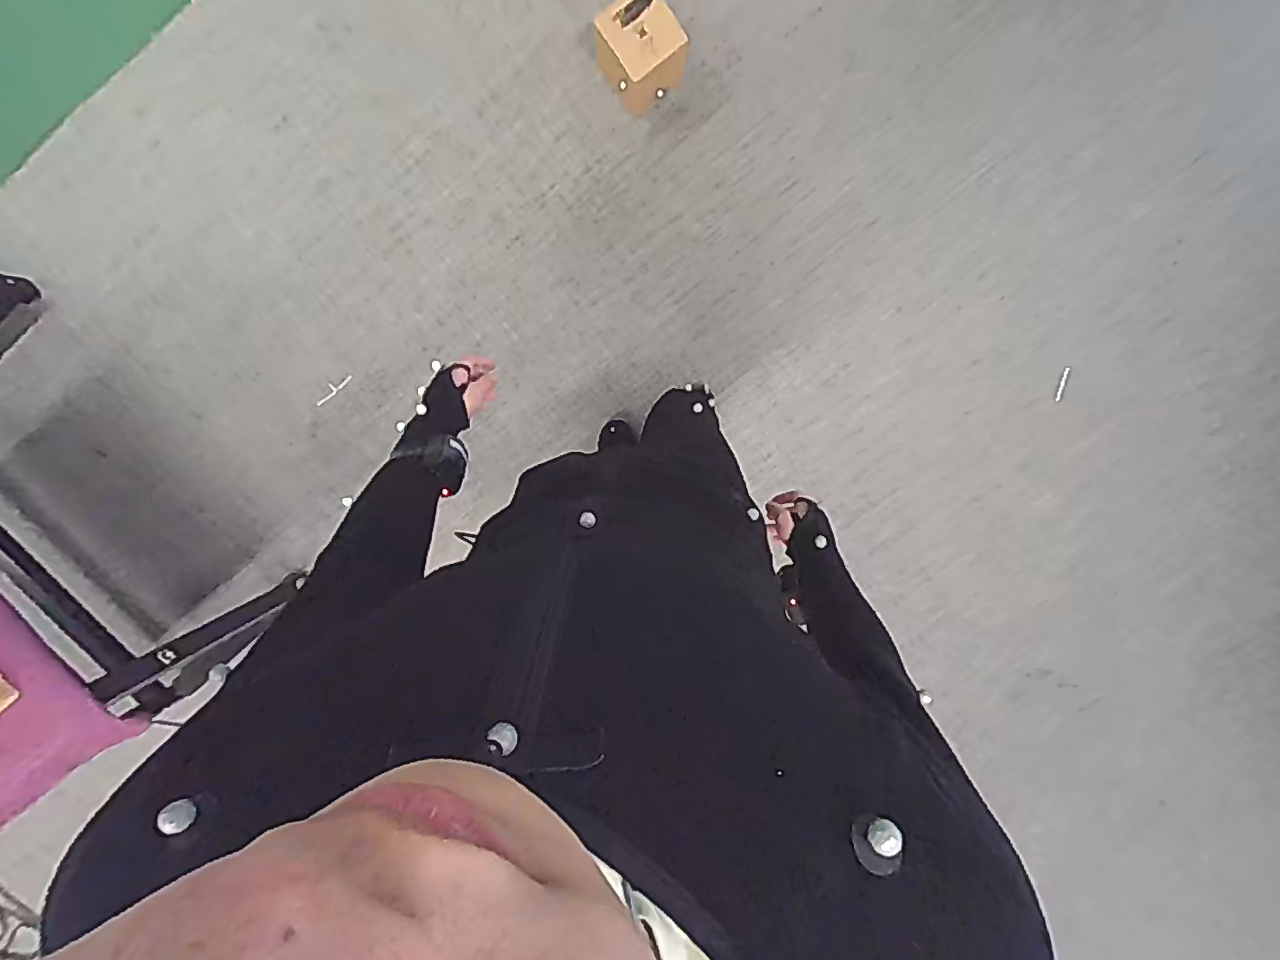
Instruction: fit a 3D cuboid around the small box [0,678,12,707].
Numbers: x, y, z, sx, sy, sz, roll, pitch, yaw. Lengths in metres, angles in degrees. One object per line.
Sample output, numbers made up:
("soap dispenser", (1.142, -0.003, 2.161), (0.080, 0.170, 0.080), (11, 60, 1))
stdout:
("small box", (-1.198, 0.366, 0.862), (0.168, 0.176, 0.179), (-38, 96, 7))
